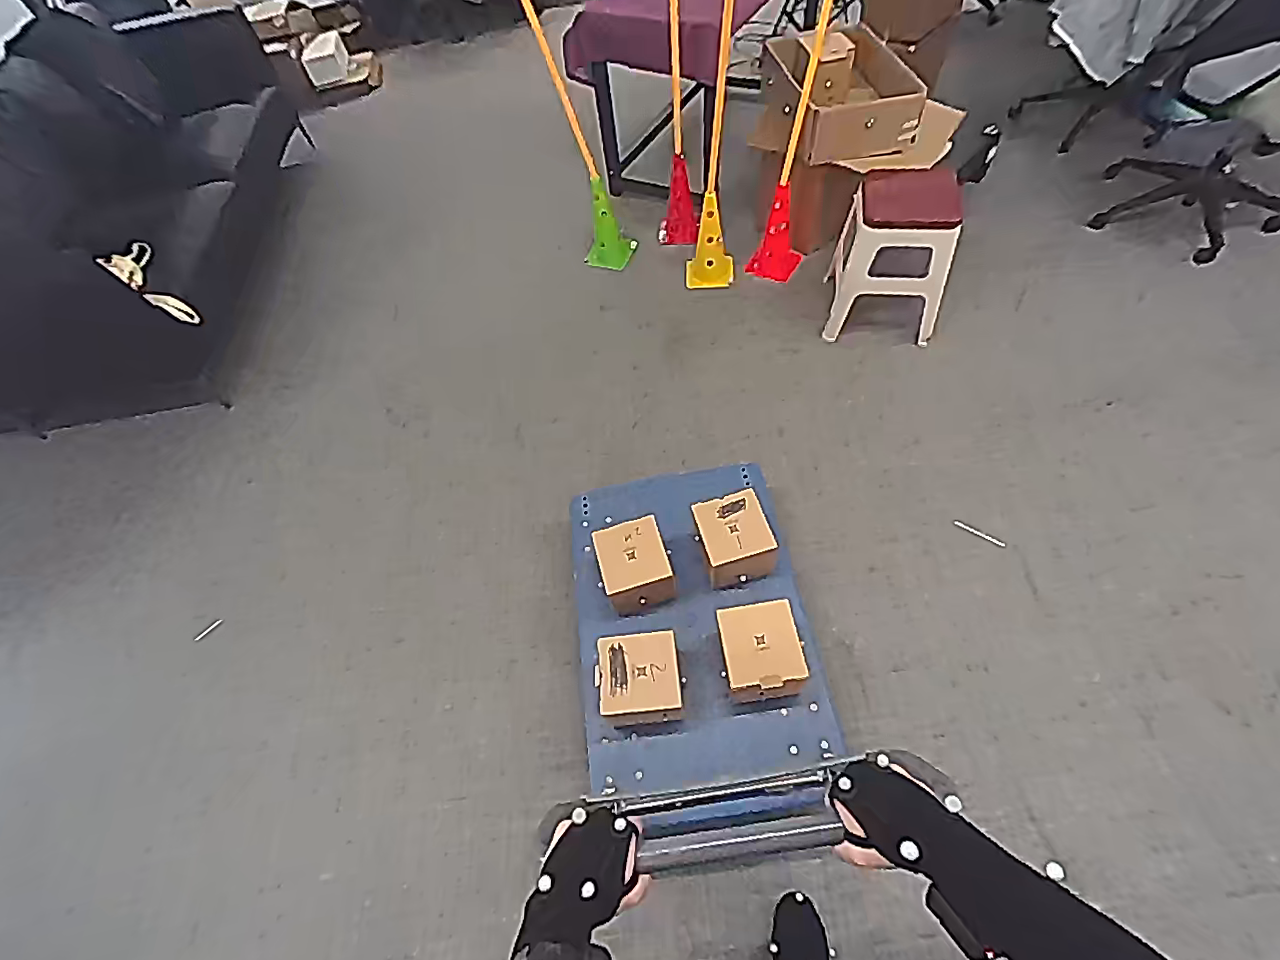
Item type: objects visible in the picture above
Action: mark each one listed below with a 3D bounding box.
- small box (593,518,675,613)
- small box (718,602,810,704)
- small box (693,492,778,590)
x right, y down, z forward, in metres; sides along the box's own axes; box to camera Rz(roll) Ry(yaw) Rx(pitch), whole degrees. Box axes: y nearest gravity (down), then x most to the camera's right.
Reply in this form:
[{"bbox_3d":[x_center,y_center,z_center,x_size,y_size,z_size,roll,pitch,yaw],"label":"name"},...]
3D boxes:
[{"bbox_3d":[-0.011,0.227,1.388,0.168,0.176,0.179,-16,58,-3],"label":"small box"},{"bbox_3d":[0.274,0.401,1.244,0.168,0.176,0.179,-10,58,2],"label":"small box"},{"bbox_3d":[0.240,0.160,1.395,0.168,0.176,0.179,-16,58,-1],"label":"small box"}]
